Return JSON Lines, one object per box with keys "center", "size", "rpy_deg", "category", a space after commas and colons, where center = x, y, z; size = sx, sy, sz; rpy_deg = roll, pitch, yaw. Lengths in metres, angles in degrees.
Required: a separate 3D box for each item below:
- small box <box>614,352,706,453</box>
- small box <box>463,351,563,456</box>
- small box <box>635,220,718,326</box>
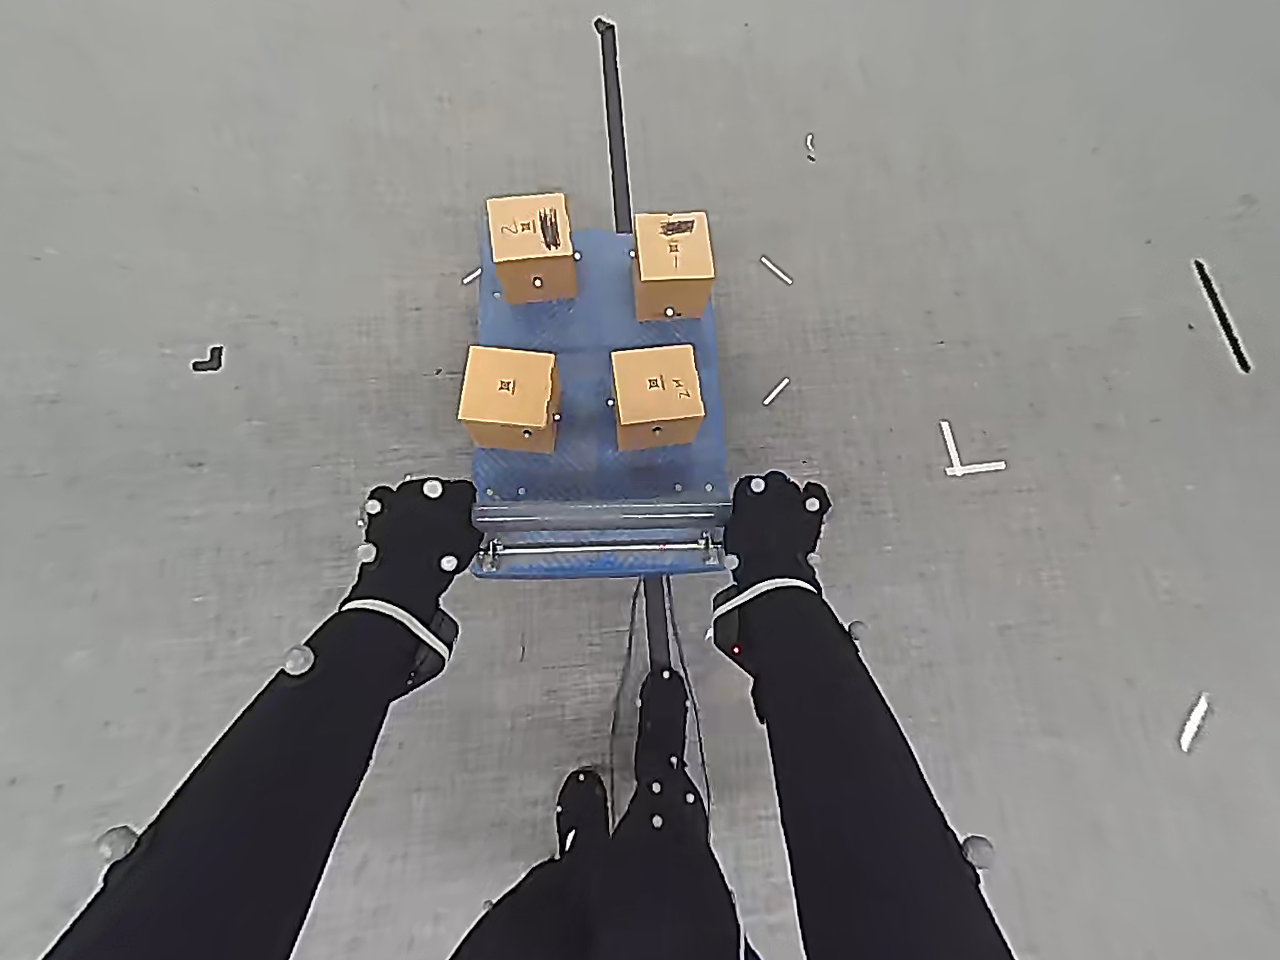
{"center": [0.038, -0.164, 1.196], "size": [0.179, 0.176, 0.168], "rpy_deg": [-6, 75, -5], "category": "small box"}
{"center": [-0.266, -0.159, 1.175], "size": [0.179, 0.176, 0.168], "rpy_deg": [5, 74, -4], "category": "small box"}
{"center": [0.080, -0.489, 1.288], "size": [0.168, 0.176, 0.179], "rpy_deg": [-4, 76, -5], "category": "small box"}
